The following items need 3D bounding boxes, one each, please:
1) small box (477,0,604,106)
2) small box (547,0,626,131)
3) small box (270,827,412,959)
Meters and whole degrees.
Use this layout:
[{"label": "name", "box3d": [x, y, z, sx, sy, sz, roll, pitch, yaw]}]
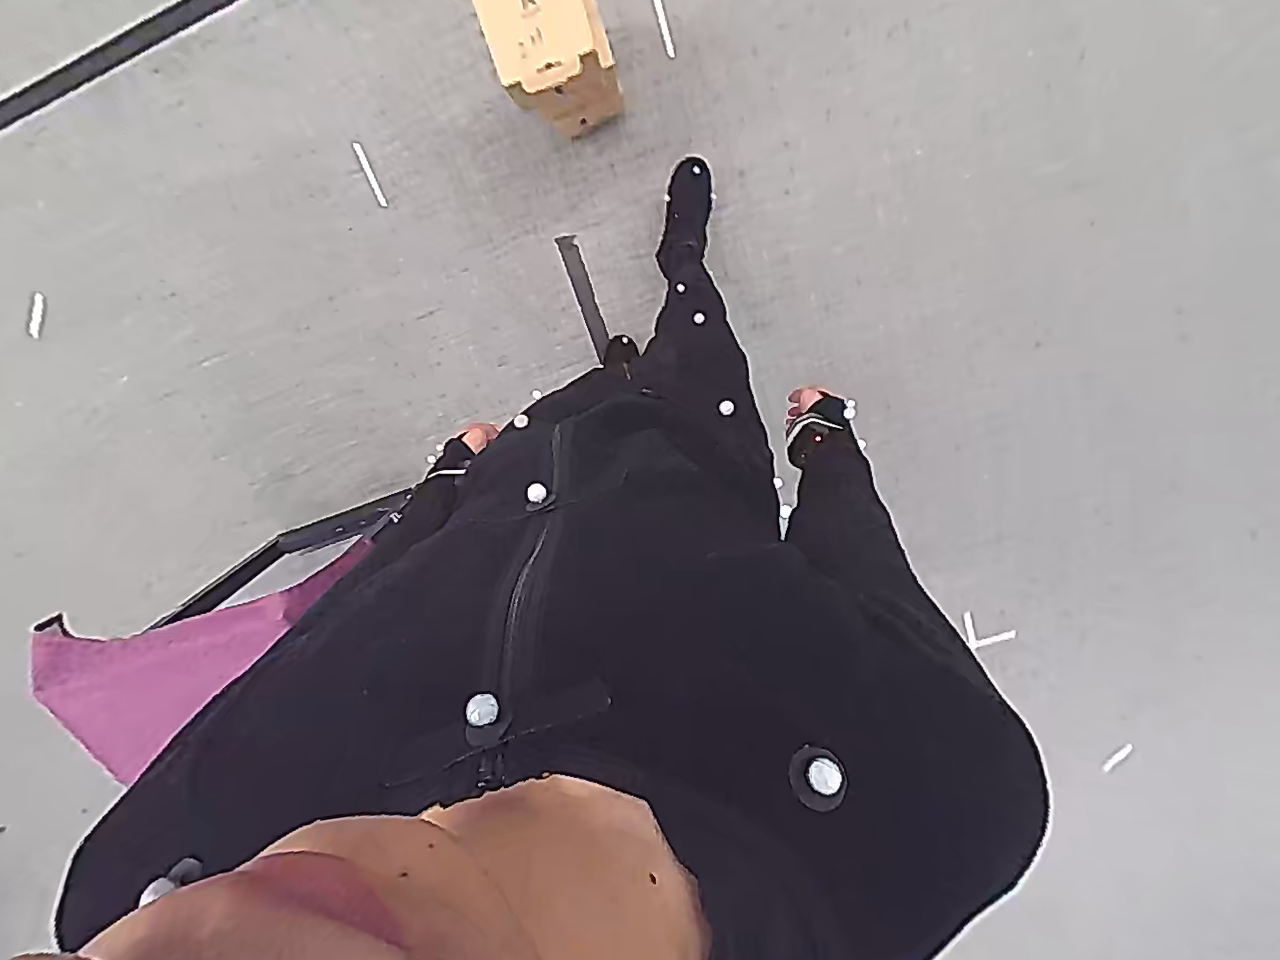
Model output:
[{"label": "small box", "box3d": [-0.168, -0.774, 0.911, 0.168, 0.176, 0.179, -16, 111, 8]}, {"label": "small box", "box3d": [-0.138, -0.914, 1.210, 0.168, 0.176, 0.179, -21, 110, 10]}, {"label": "small box", "box3d": [-0.639, 0.907, 1.183, 0.168, 0.176, 0.179, -28, 108, 12]}]
